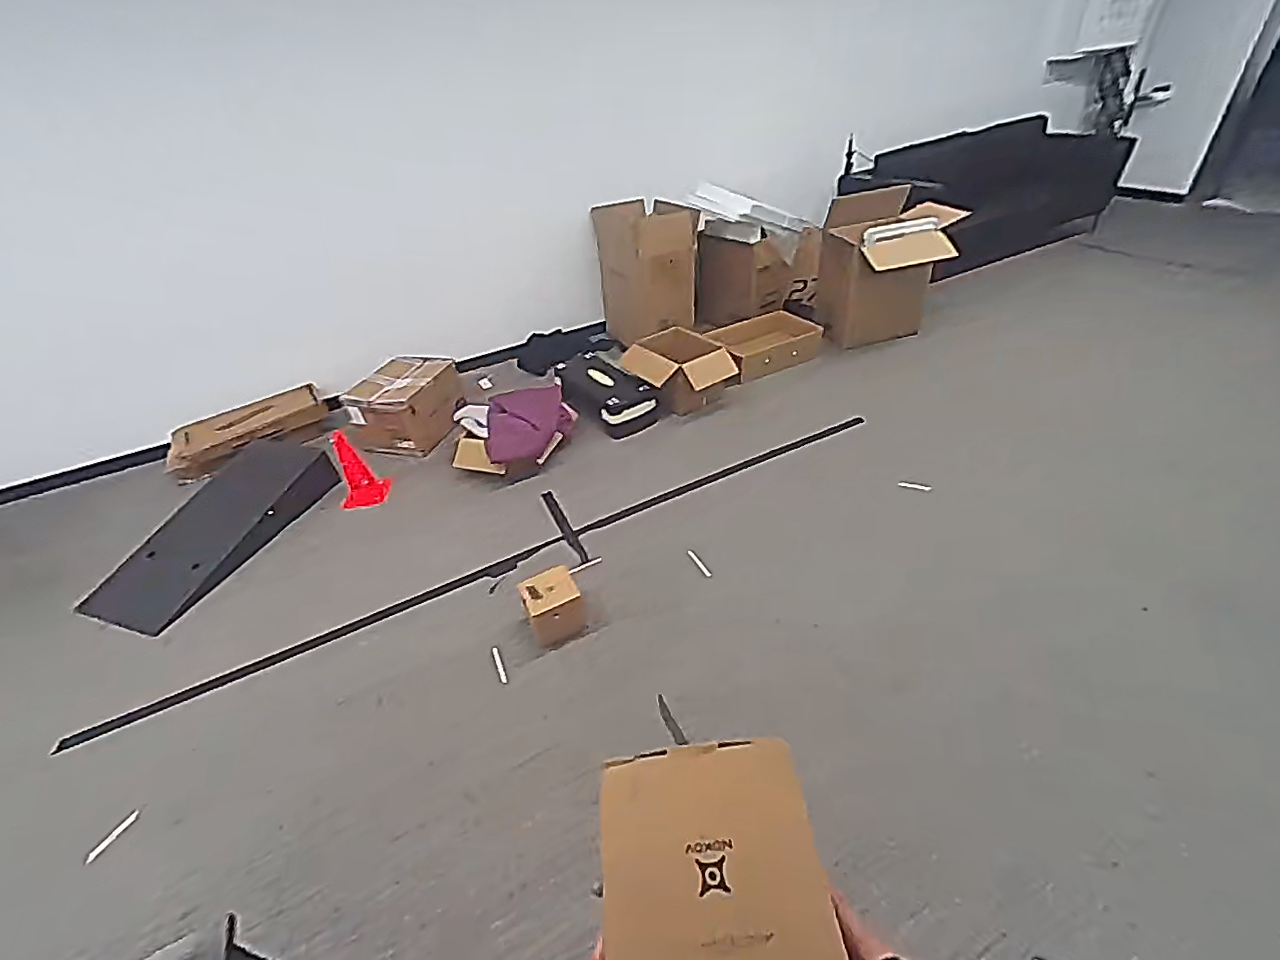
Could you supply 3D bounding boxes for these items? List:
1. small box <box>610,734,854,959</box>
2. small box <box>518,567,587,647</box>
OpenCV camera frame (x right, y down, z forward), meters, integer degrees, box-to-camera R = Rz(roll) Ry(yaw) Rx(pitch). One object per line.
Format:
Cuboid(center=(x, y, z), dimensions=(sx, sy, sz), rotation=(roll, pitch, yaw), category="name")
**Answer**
Cuboid(center=(0.066, 0.345, 0.463), dimensions=(0.168, 0.176, 0.179), rotation=(-7, 45, 1), category="small box")
Cuboid(center=(-0.300, 0.441, 1.867), dimensions=(0.179, 0.176, 0.168), rotation=(-22, 40, -19), category="small box")
